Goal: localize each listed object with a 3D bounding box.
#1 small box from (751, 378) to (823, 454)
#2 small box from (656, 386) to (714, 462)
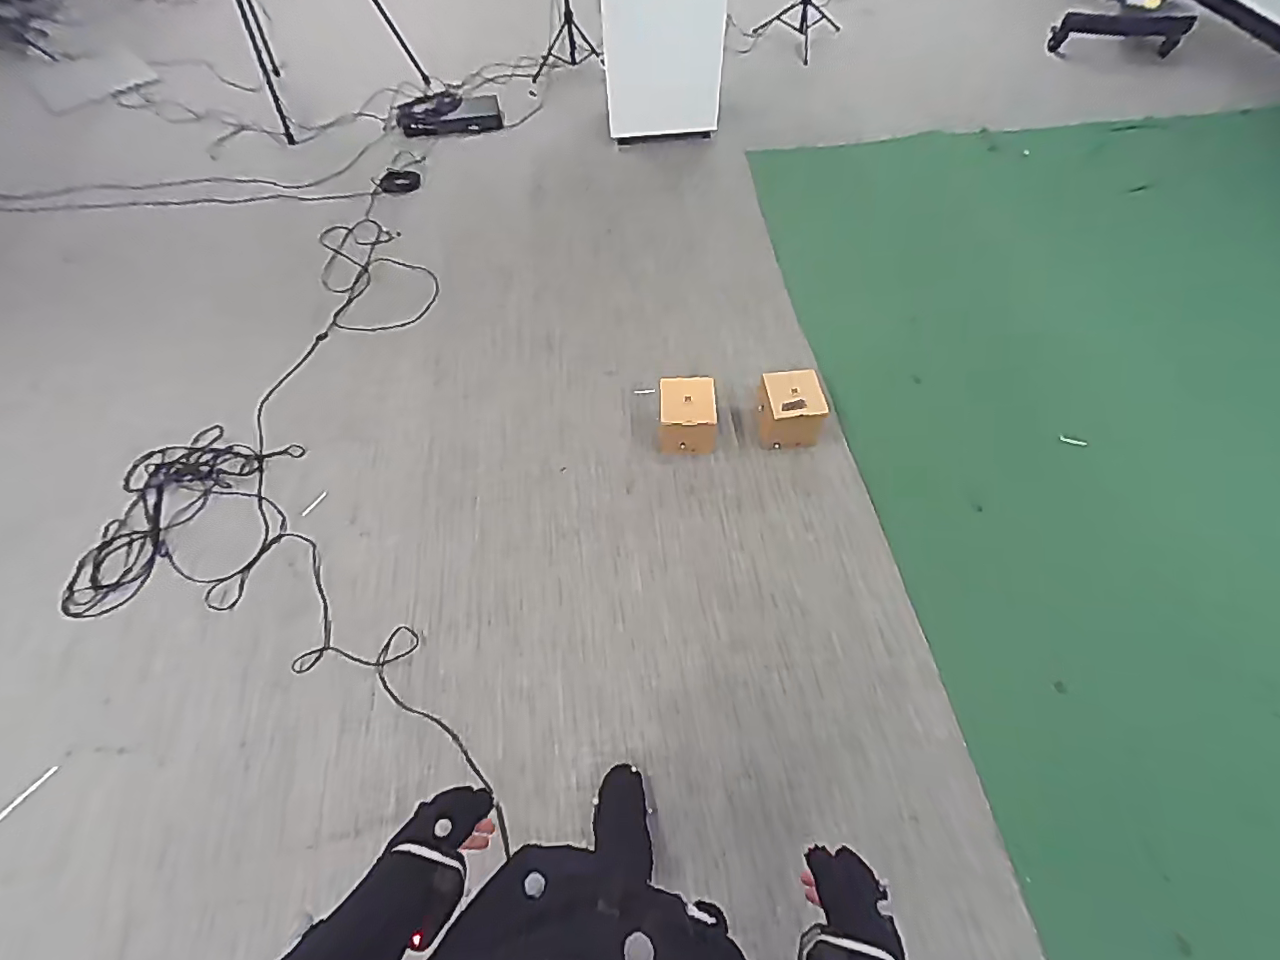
[{"bbox_3d":[0.453,-0.194,1.694,0.168,0.176,0.179,-5,58,-2],"label":"small box"},{"bbox_3d":[0.135,-0.175,1.689,0.168,0.176,0.179,-1,59,0],"label":"small box"}]
